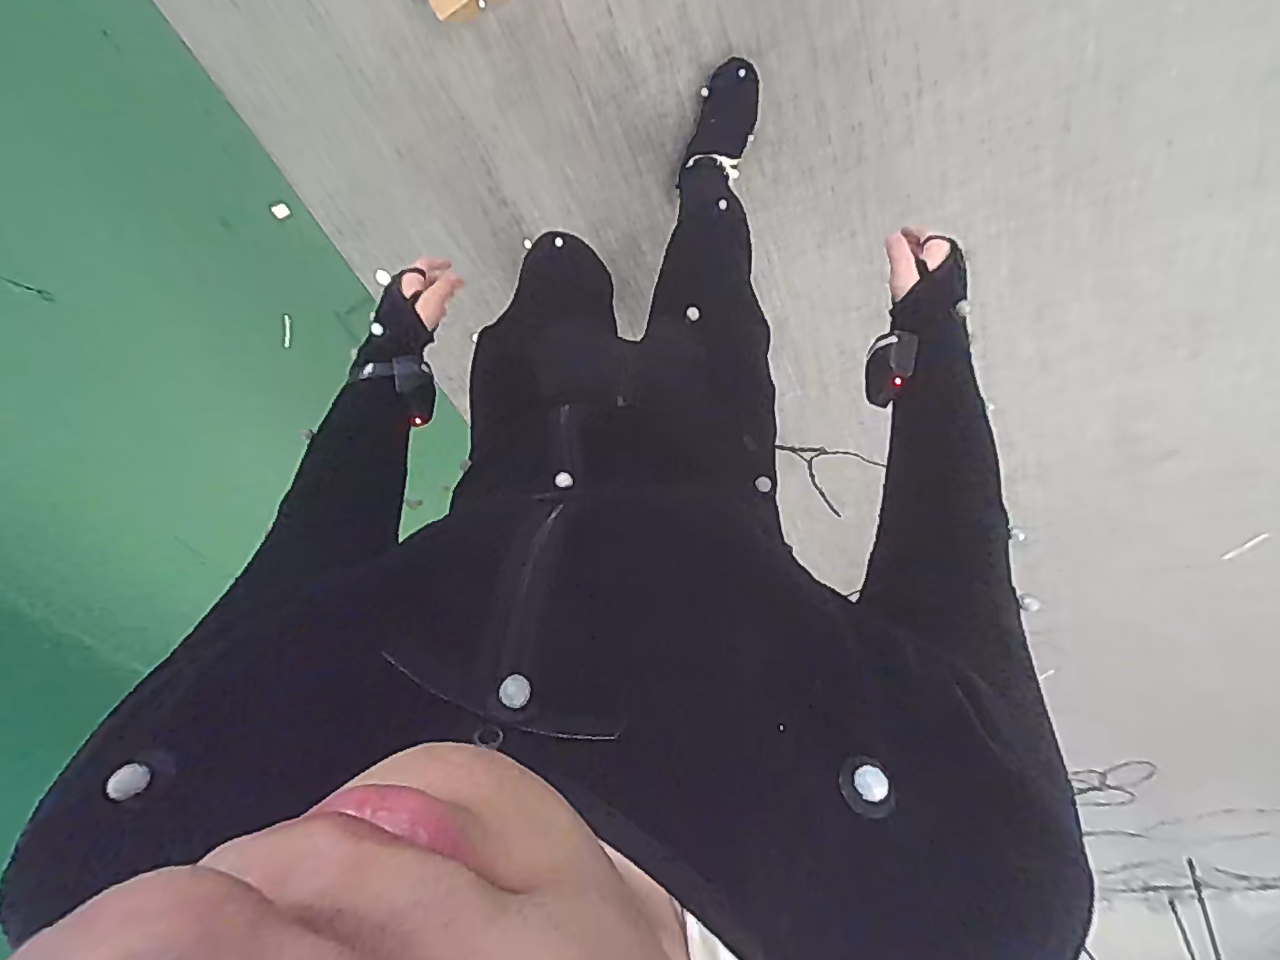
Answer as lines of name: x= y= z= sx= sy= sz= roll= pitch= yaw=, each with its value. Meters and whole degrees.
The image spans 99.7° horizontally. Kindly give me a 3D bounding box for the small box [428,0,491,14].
small box: x=-0.313 y=-0.965 z=0.958 sx=0.179 sy=0.176 sz=0.168 roll=-16 pitch=127 yaw=20
